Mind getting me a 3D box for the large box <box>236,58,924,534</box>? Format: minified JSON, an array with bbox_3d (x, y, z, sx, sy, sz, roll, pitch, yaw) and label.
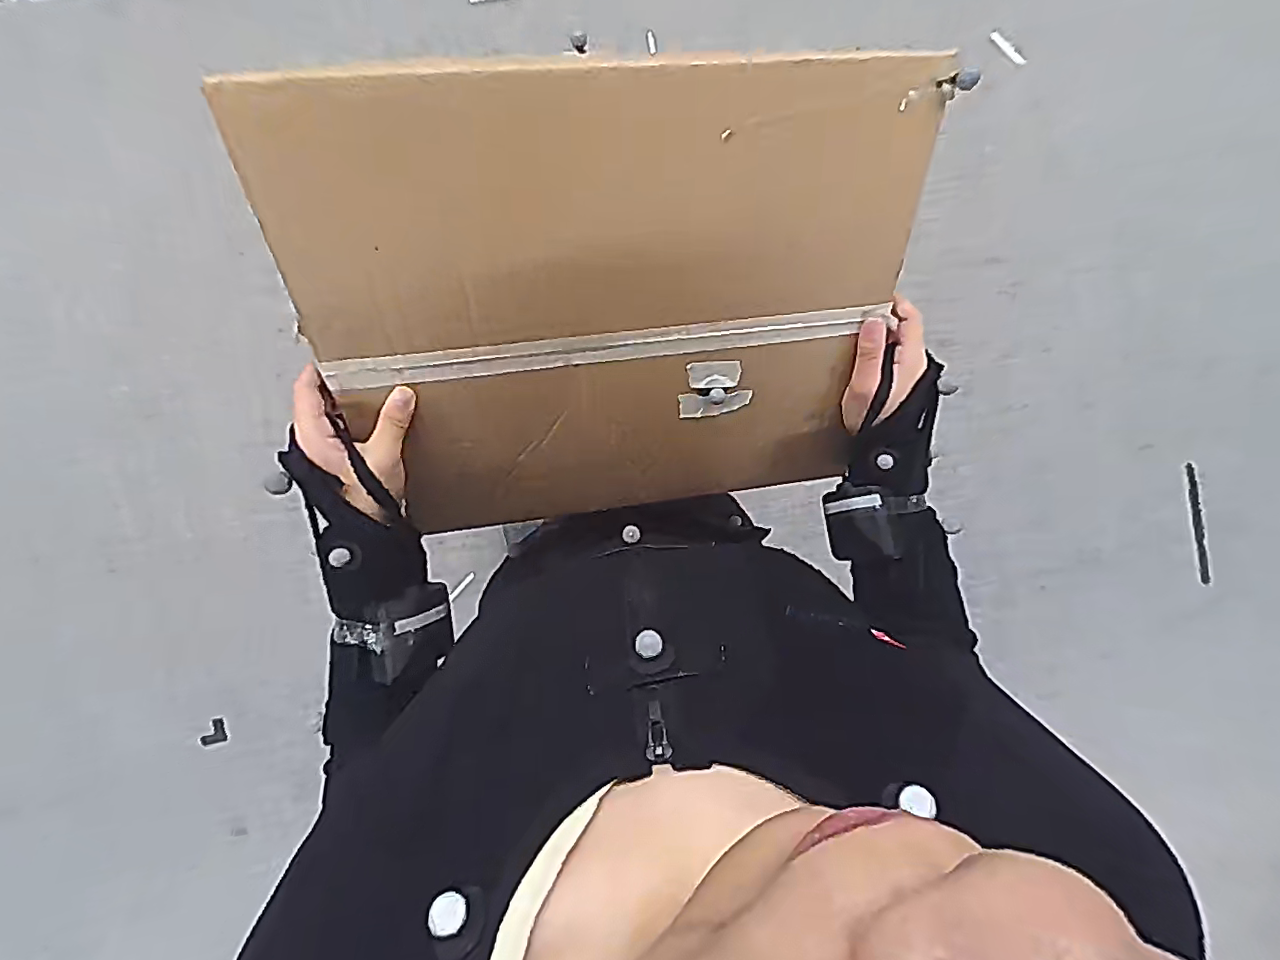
[{"bbox_3d":[-0.044,-0.193,0.510,0.408,0.320,0.320,-9,131,-8],"label":"large box"}]
